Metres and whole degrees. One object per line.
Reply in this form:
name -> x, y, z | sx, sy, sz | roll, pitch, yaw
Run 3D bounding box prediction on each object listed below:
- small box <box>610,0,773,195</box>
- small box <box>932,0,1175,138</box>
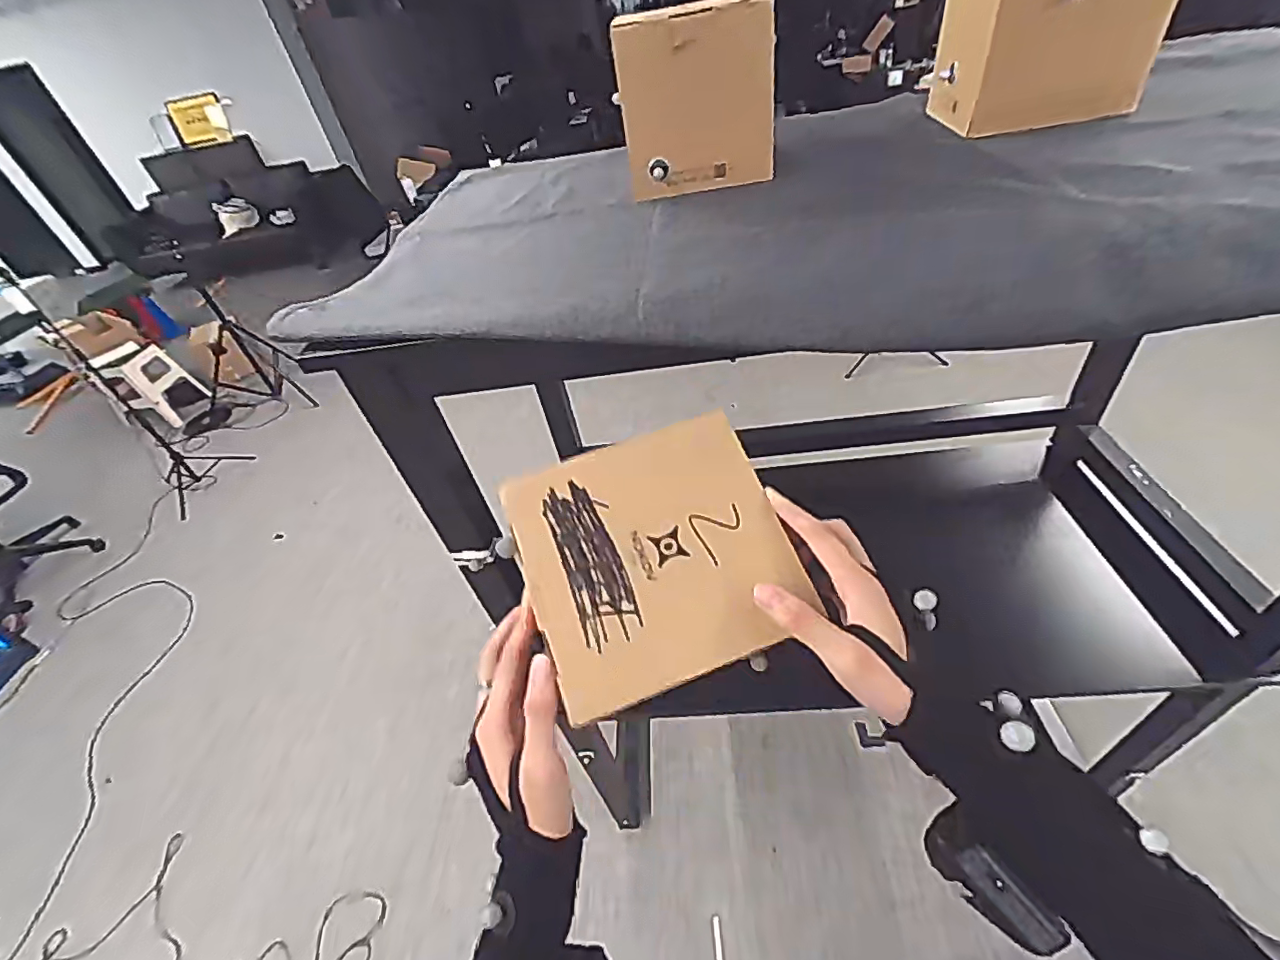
small box -> 0.065, -0.458, 0.651 | 0.168, 0.176, 0.179 | -6, 41, 7
small box -> 0.465, -0.518, 0.621 | 0.179, 0.176, 0.168 | -4, 42, 10
